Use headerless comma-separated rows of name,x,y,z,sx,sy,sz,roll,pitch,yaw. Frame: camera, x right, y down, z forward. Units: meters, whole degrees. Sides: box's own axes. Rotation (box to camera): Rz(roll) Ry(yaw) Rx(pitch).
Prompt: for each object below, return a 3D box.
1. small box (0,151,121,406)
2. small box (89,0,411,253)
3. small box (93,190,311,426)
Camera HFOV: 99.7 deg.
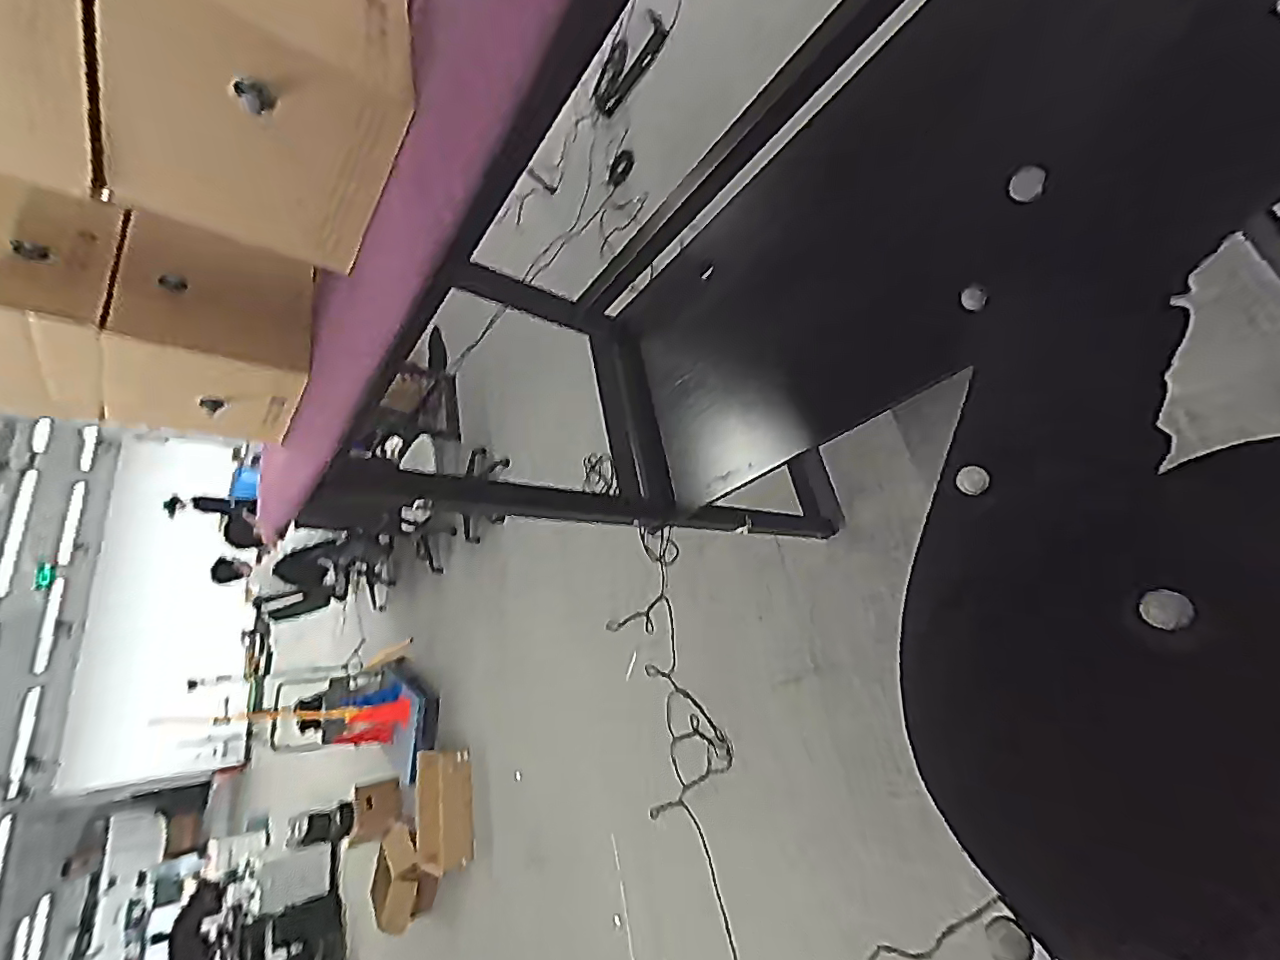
small box,-0.613,-0.191,0.512,0.179,0.176,0.168,-36,58,38
small box,-0.284,-0.316,0.412,0.179,0.176,0.168,-35,58,41
small box,-0.489,-0.175,0.616,0.168,0.176,0.179,-34,59,39
